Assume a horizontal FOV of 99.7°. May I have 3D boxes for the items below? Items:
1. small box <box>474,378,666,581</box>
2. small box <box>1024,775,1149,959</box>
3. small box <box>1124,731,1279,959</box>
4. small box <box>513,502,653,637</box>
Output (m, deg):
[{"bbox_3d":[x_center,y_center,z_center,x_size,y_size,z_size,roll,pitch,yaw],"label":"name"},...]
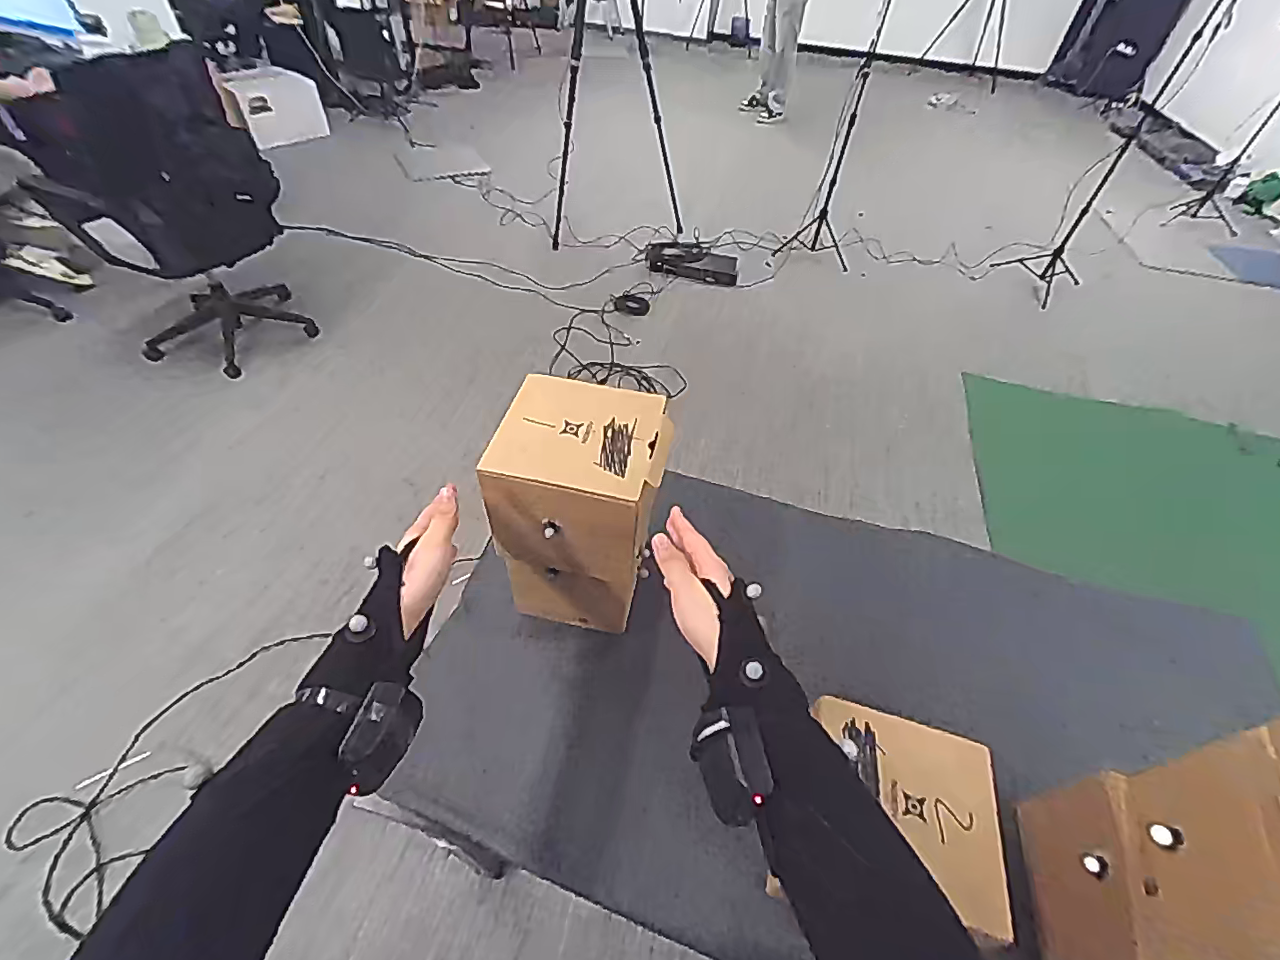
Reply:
[{"bbox_3d":[-0.074,0.004,0.659,0.179,0.176,0.168,11,50,6],"label":"small box"},{"bbox_3d":[0.524,0.433,0.540,0.168,0.176,0.179,14,48,9],"label":"small box"},{"bbox_3d":[0.530,0.333,0.412,0.179,0.176,0.168,22,49,17],"label":"small box"},{"bbox_3d":[-0.081,0.101,0.794,0.168,0.176,0.179,11,49,5],"label":"small box"}]
